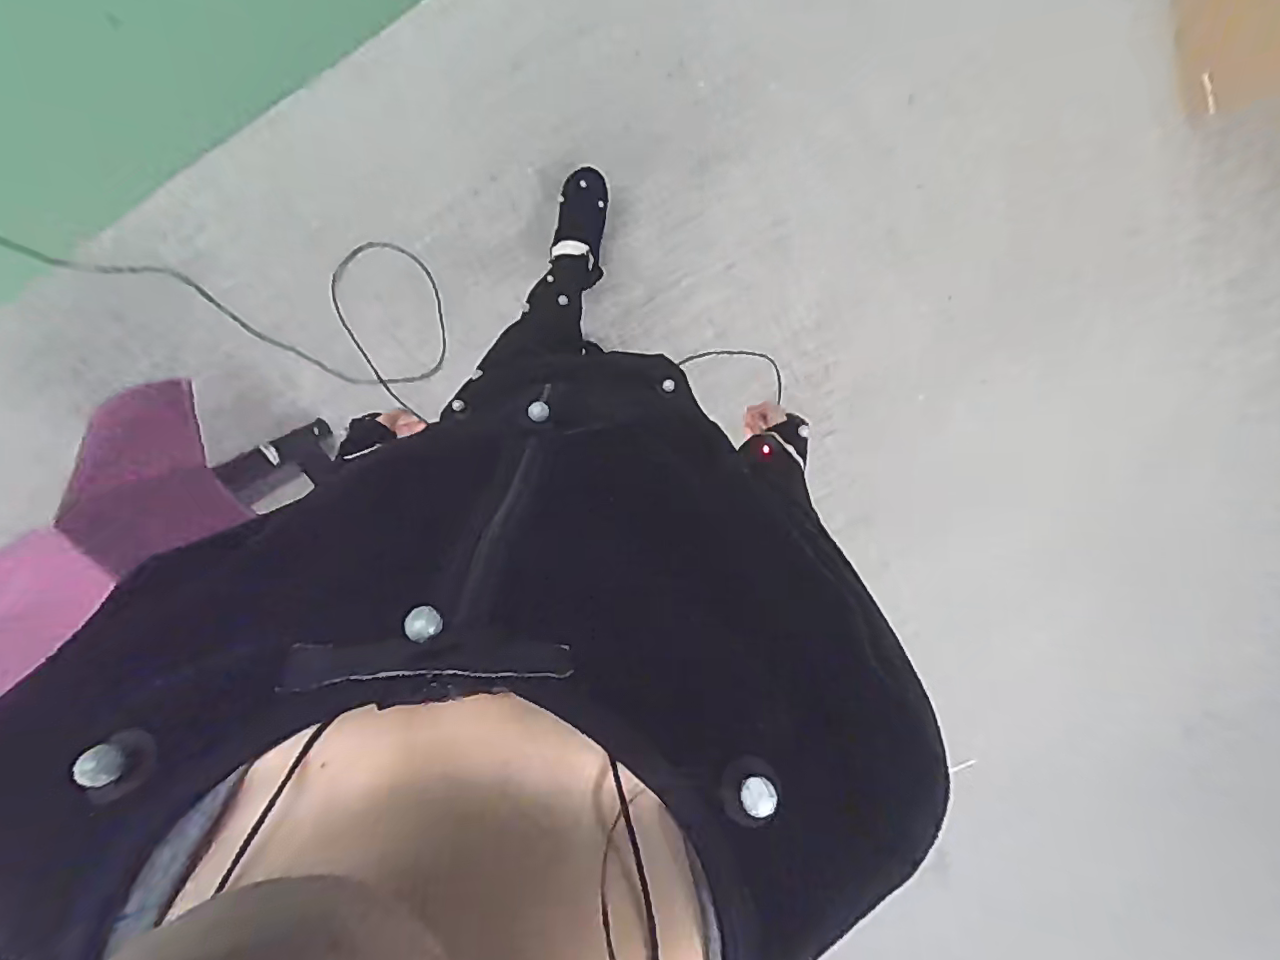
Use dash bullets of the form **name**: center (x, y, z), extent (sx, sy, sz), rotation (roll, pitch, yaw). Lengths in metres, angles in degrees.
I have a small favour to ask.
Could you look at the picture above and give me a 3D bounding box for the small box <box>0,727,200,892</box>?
- **small box**: center (-0.855, 0.529, 0.841), extent (0.168, 0.176, 0.179), rotation (-28, 108, 7)
